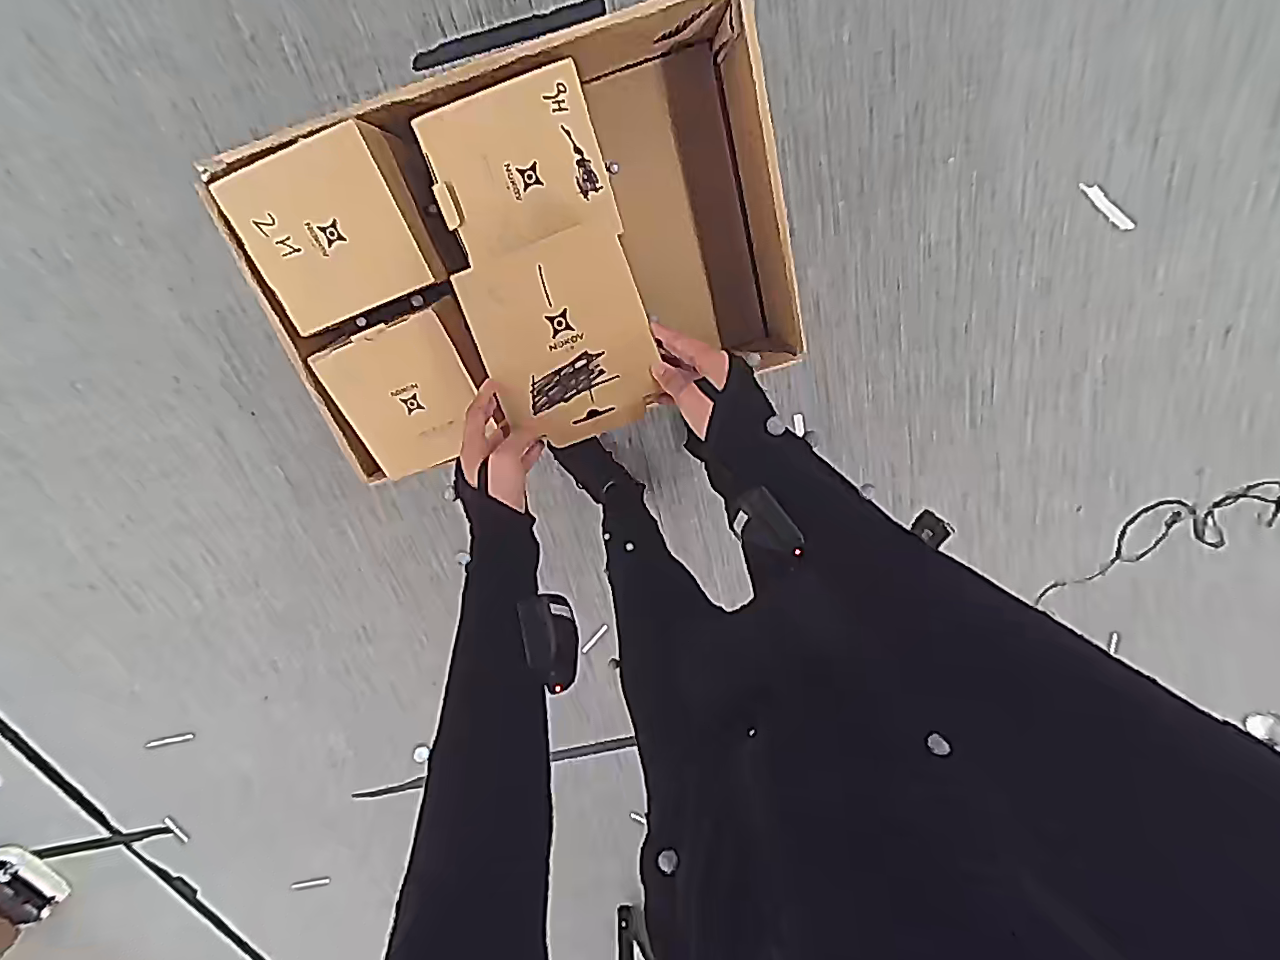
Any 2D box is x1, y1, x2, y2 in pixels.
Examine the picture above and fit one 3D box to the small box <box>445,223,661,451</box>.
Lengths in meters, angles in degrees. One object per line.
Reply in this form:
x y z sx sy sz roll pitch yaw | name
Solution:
-0.079 -0.146 0.599 0.168 0.176 0.179 -20 96 4 | small box
